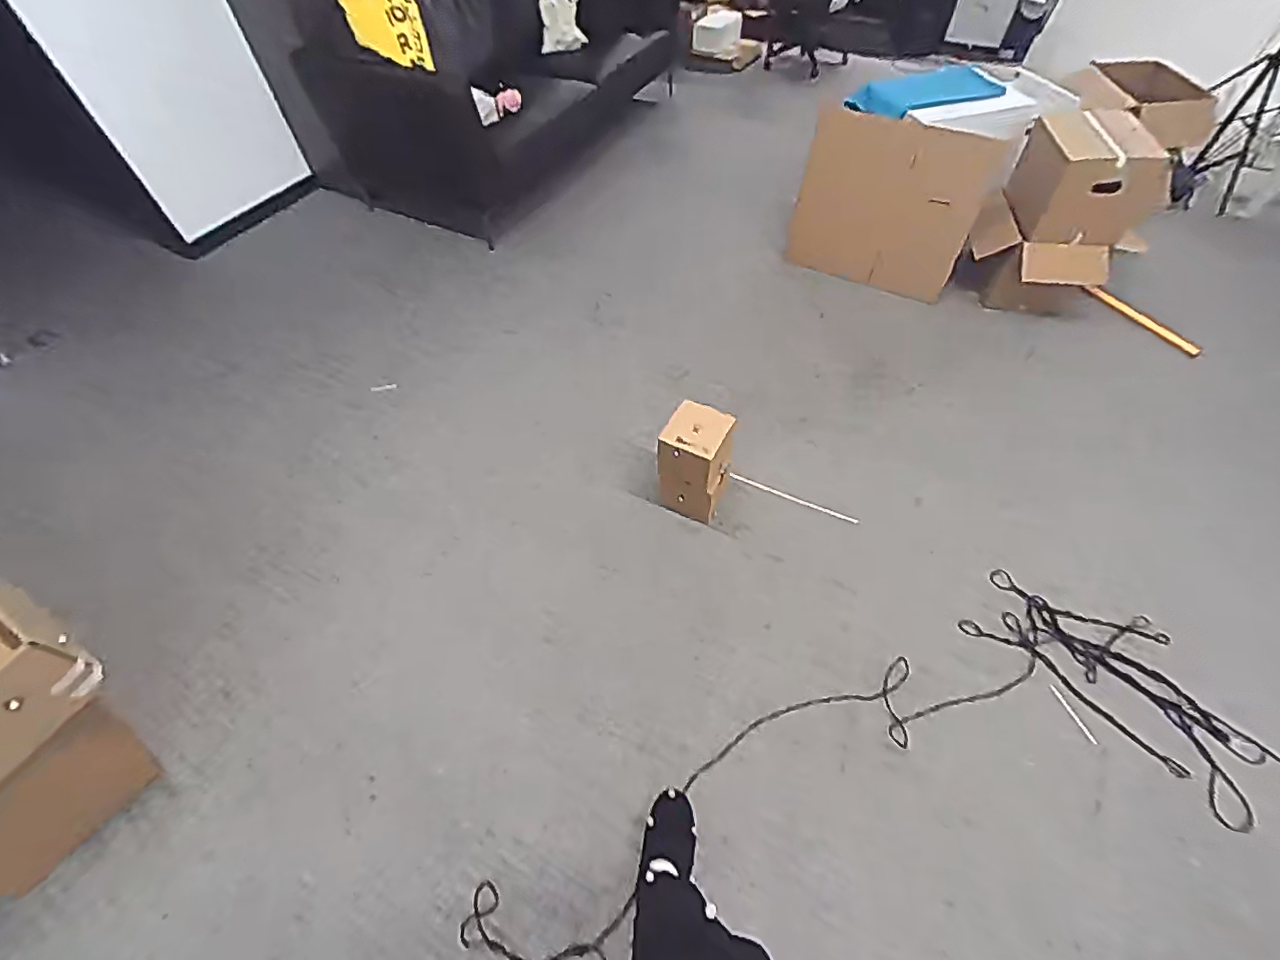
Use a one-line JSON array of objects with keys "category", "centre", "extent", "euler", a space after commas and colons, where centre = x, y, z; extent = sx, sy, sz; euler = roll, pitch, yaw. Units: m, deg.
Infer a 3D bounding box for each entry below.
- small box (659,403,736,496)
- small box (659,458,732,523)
[{"category": "small box", "centre": [0.162, -0.087, 1.572], "extent": [0.168, 0.176, 0.179], "euler": [23, 56, 19]}, {"category": "small box", "centre": [0.173, 0.013, 1.701], "extent": [0.179, 0.176, 0.168], "euler": [22, 56, 18]}]
